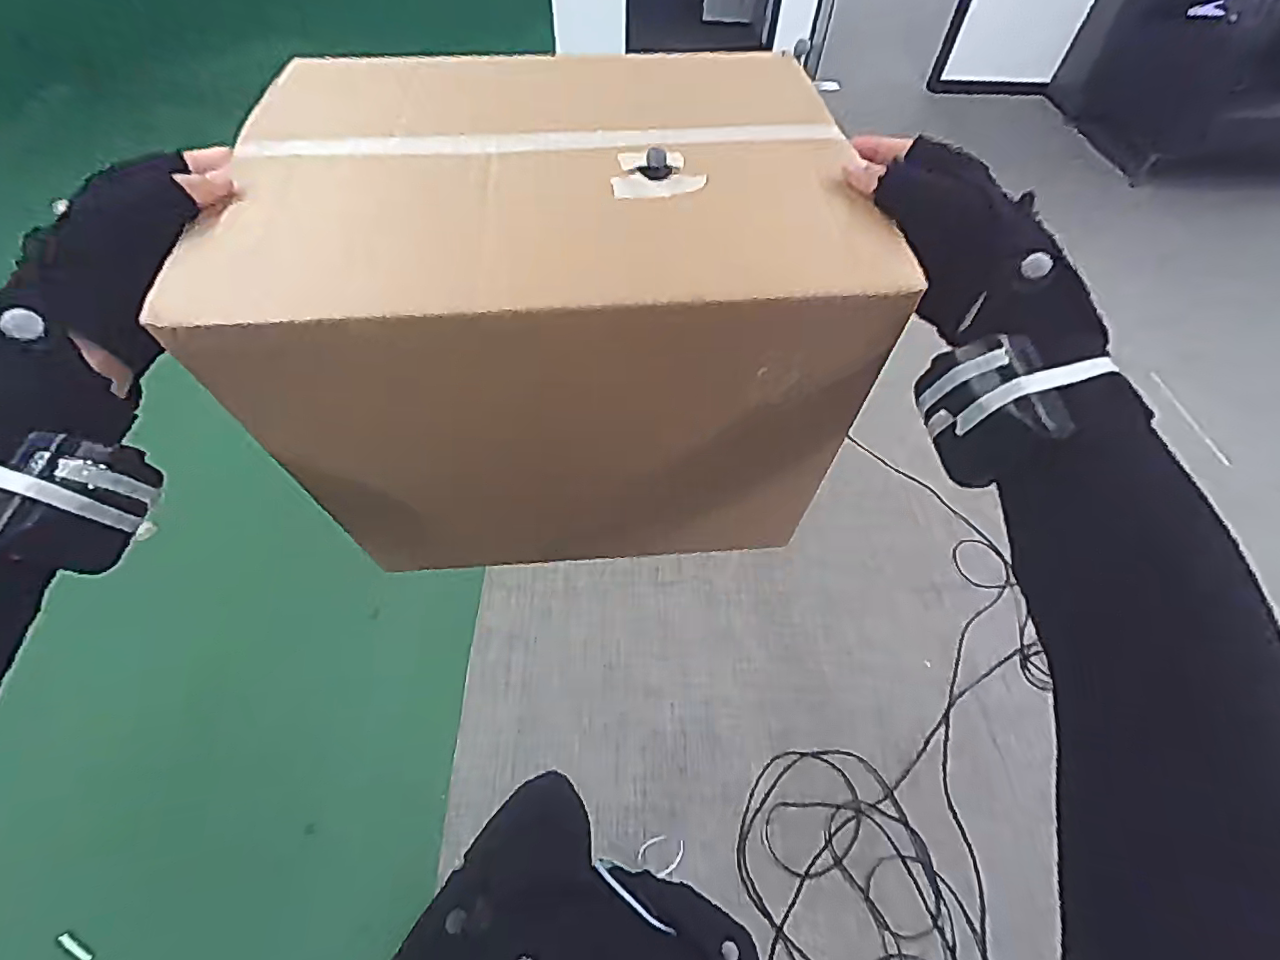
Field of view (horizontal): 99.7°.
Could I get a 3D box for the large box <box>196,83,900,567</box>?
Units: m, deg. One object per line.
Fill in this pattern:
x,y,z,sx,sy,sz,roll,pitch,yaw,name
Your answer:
-0.061,-0.132,0.507,0.408,0.320,0.320,-3,57,-4,large box
